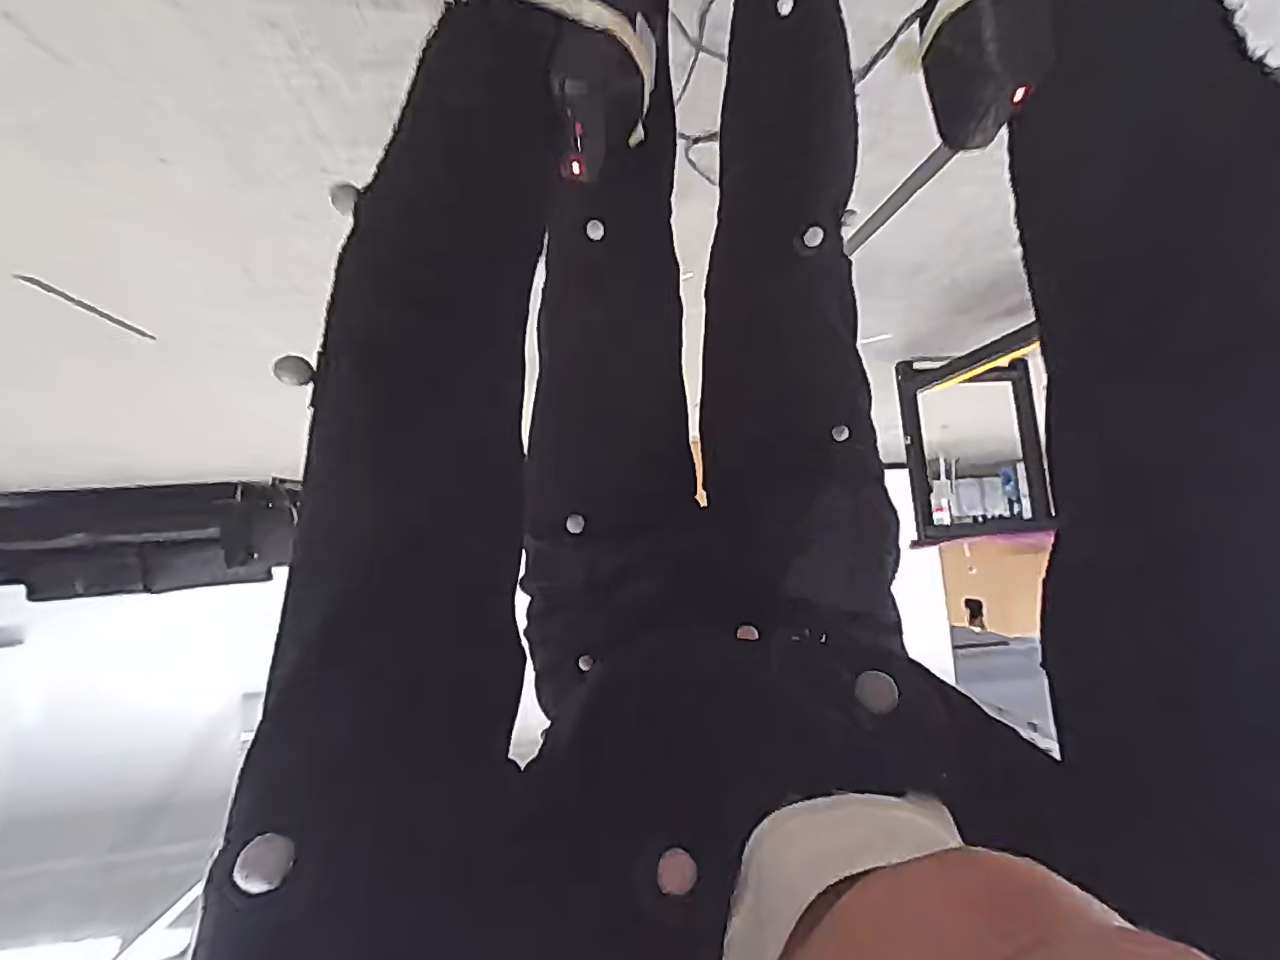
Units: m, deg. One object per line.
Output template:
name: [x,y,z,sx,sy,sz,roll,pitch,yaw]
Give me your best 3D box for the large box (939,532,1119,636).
large box: [1.372,0.363,1.942,0.408,0.320,0.320,-4,174,-7]
